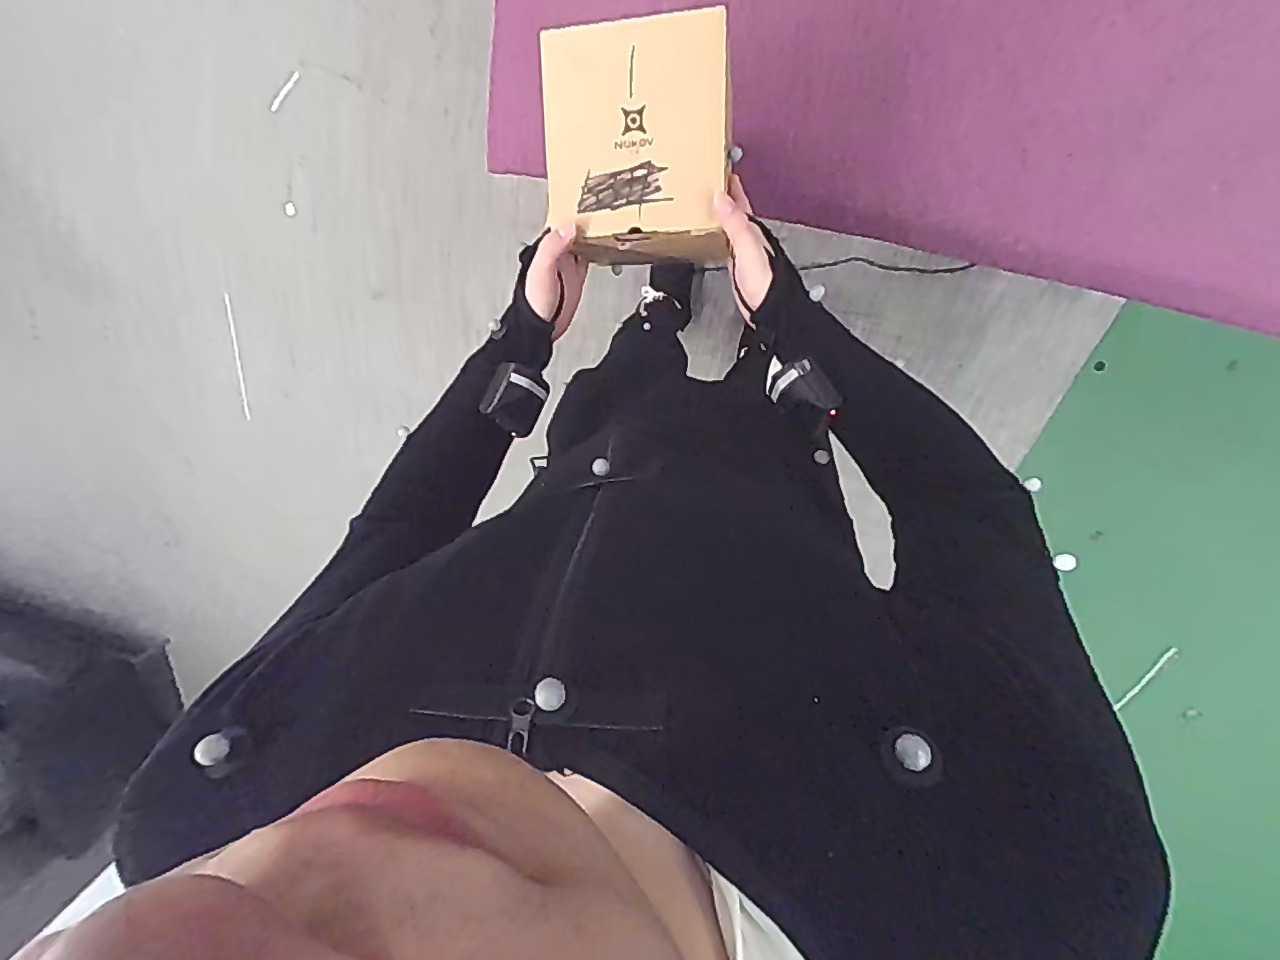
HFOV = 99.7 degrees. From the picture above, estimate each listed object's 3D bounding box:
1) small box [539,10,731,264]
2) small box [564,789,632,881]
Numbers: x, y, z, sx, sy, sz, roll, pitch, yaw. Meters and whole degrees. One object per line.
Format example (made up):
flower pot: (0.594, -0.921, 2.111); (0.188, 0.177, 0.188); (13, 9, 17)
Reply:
small box: (0.007, -0.327, 0.561); (0.168, 0.176, 0.179); (1, 103, 11)
small box: (-0.136, 1.180, 1.801); (0.168, 0.176, 0.179); (20, 120, 5)
